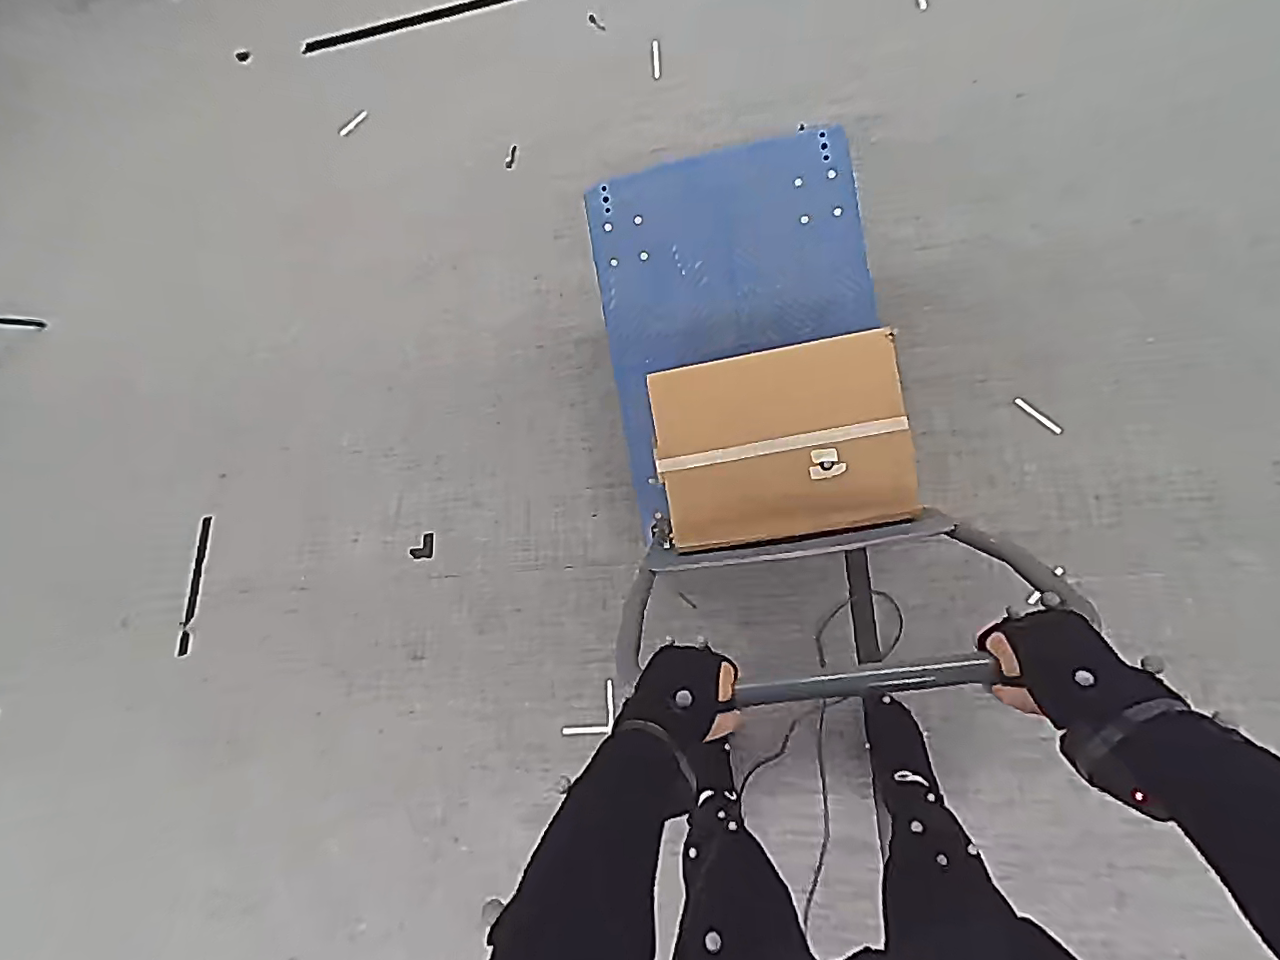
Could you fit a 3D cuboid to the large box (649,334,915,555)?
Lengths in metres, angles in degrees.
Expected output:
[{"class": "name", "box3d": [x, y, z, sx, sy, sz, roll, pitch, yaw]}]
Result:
[{"class": "large box", "box3d": [0.252, -0.060, 1.063, 0.408, 0.320, 0.320, -10, 92, 7]}]
